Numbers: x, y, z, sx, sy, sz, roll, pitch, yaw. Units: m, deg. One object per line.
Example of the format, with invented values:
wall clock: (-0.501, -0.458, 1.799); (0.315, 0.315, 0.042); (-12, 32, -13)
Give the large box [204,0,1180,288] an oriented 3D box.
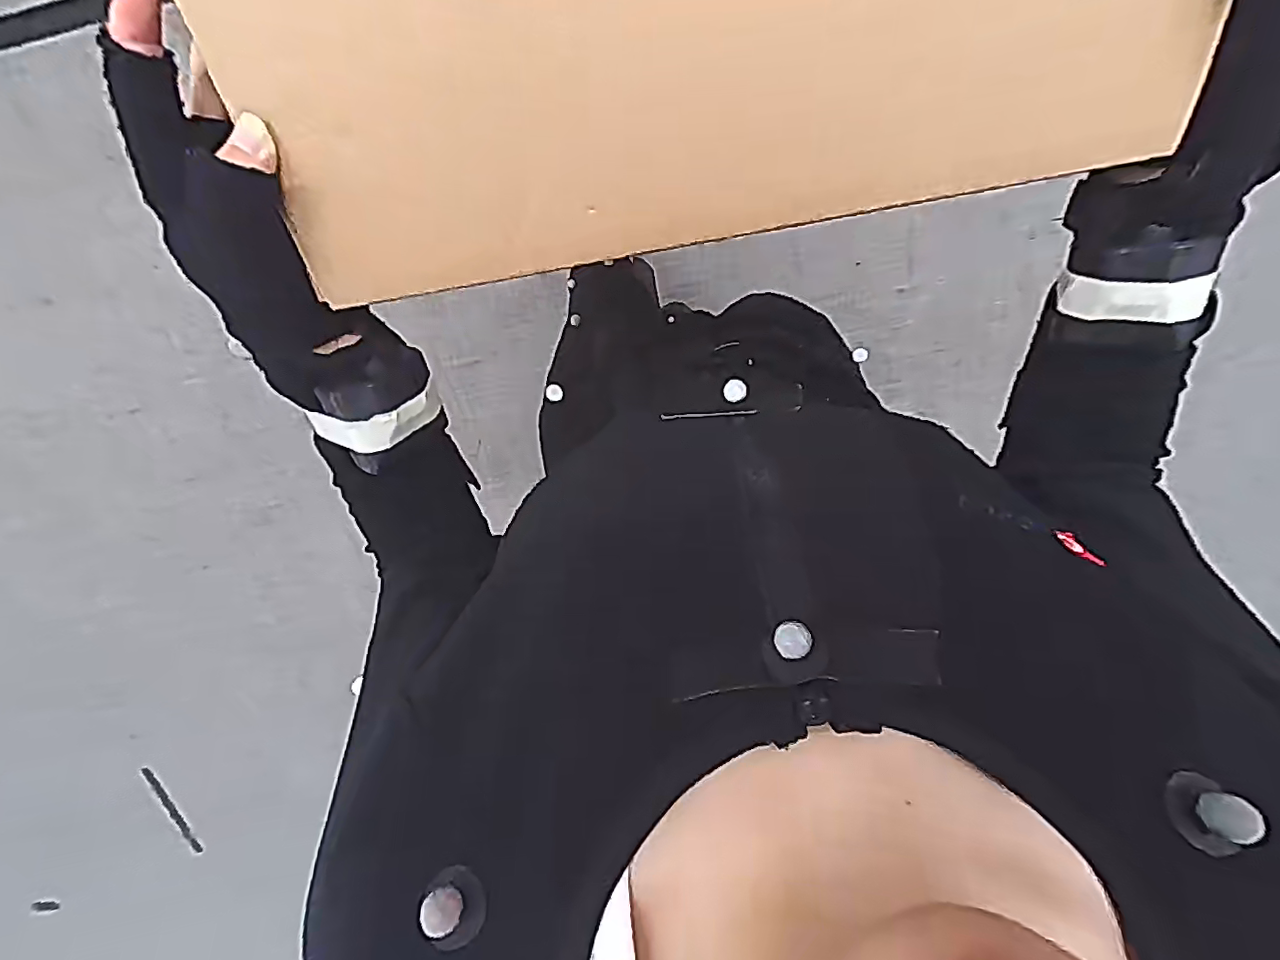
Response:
large box: (0.007, -0.337, 0.308); (0.408, 0.320, 0.320); (-9, 124, 4)
